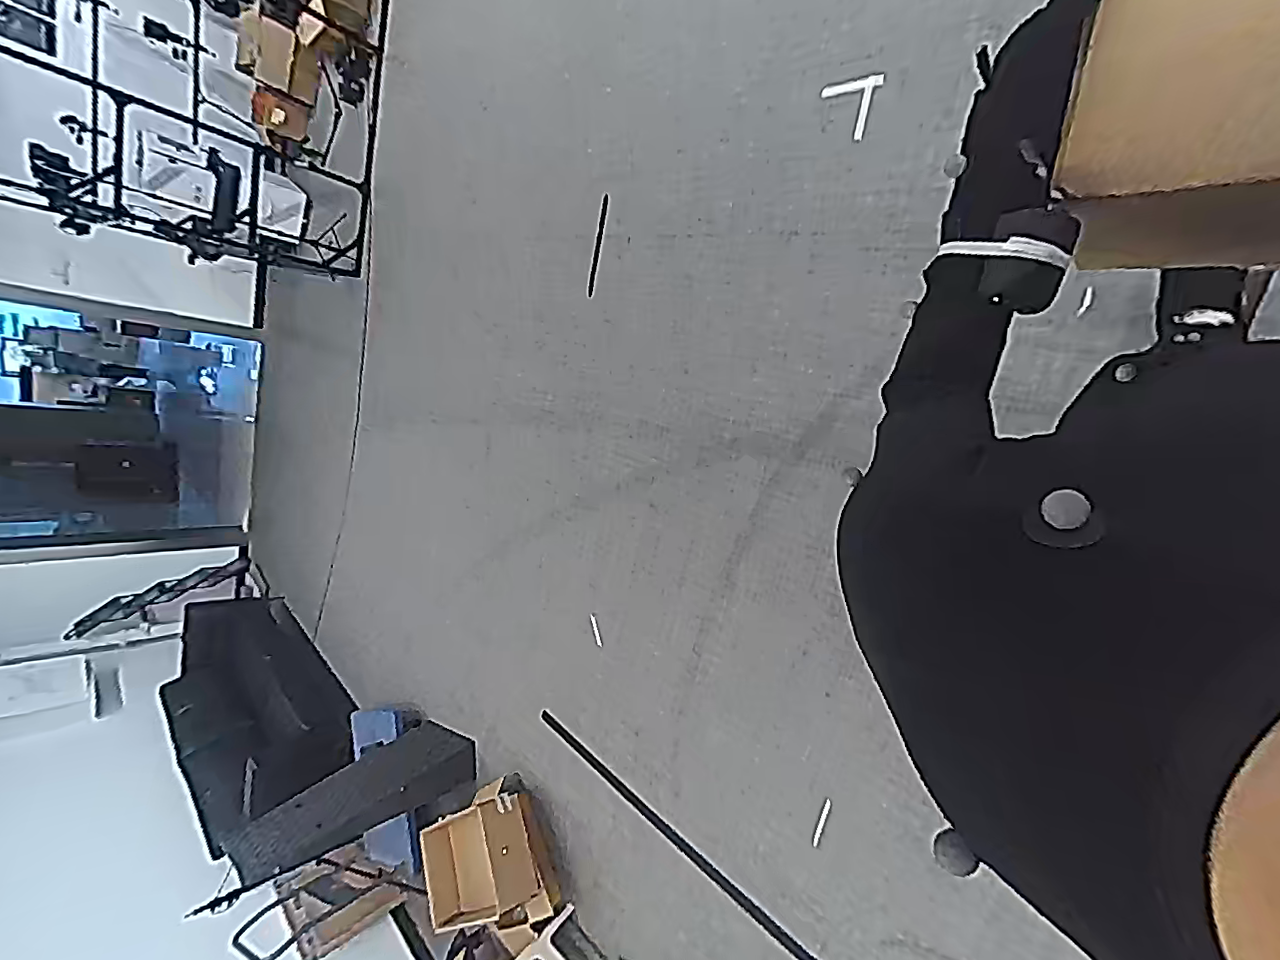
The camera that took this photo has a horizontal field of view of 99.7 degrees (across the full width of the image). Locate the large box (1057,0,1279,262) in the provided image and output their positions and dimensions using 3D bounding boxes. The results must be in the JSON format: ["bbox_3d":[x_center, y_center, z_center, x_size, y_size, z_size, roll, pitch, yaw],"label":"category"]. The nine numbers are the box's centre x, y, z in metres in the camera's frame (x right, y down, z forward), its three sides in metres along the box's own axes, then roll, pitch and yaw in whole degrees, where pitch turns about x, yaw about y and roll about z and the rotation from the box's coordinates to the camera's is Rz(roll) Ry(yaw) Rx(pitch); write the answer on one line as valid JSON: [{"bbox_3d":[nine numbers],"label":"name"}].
[{"bbox_3d":[0.572,-0.349,0.370,0.408,0.320,0.320,15,108,39],"label":"large box"}]
